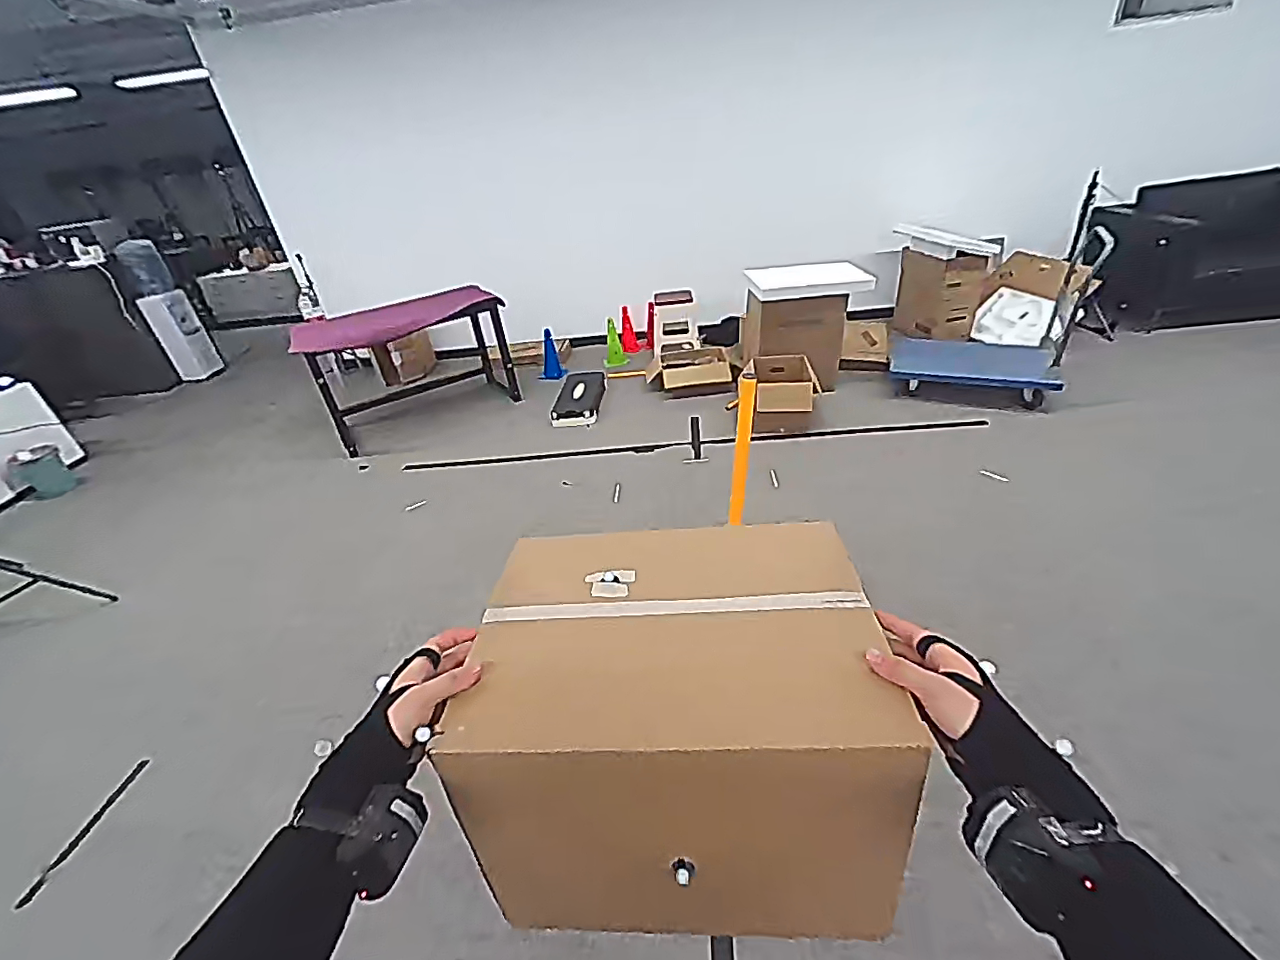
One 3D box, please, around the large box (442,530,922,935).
[{"bbox_3d":[0.052,0.284,0.641,0.408,0.320,0.320,-5,27,6],"label":"large box"}]
